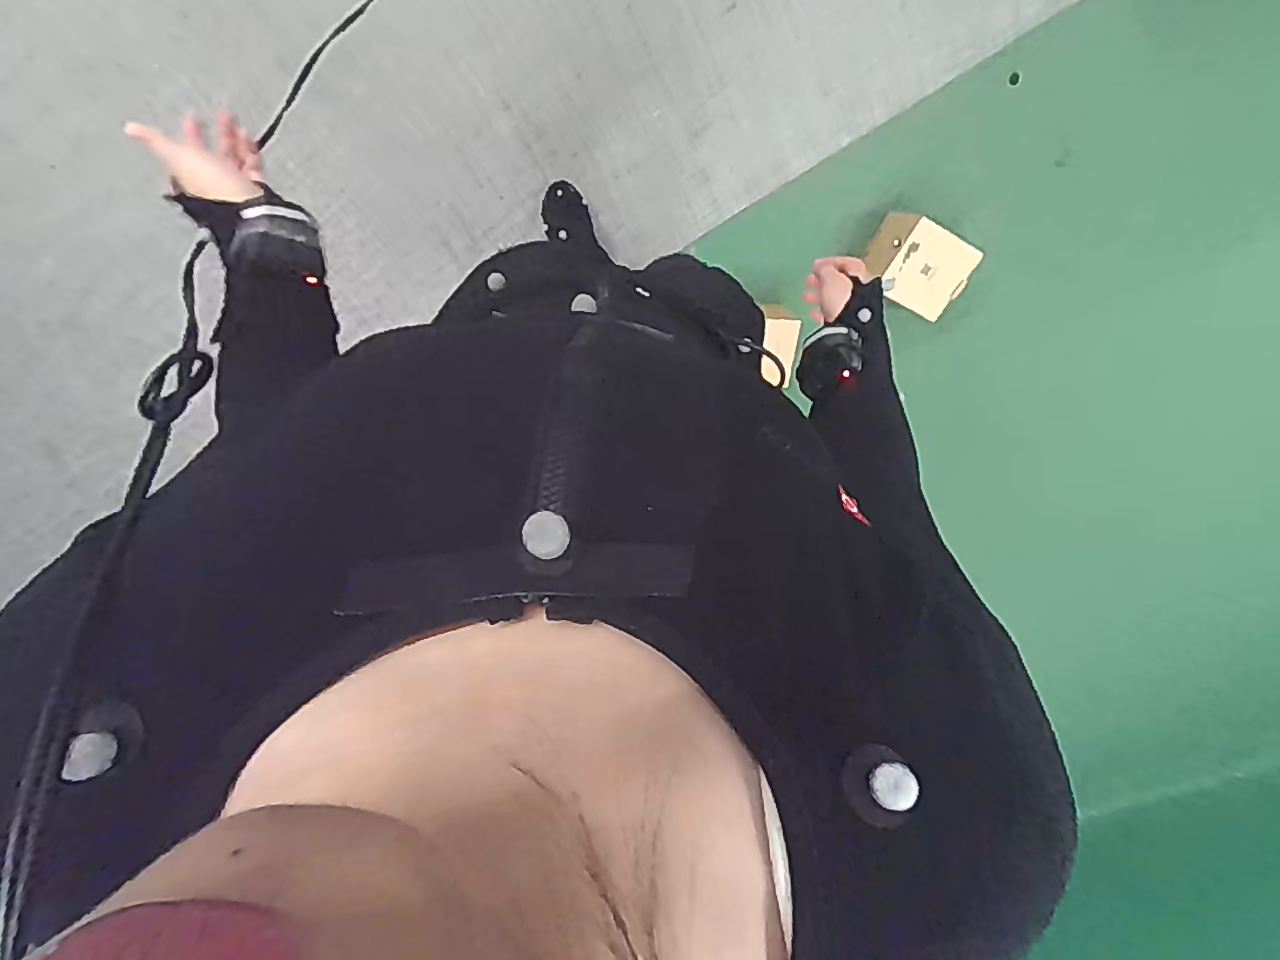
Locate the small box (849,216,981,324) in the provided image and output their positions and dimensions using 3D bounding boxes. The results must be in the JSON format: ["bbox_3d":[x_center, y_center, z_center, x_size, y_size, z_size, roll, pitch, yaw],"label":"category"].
[{"bbox_3d":[0.625,-0.492,1.252,0.179,0.176,0.168,23,117,-14],"label":"small box"}]

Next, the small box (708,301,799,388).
[{"bbox_3d":[0.269,-0.338,1.334,0.179,0.176,0.168,2,121,-3],"label":"small box"}]
